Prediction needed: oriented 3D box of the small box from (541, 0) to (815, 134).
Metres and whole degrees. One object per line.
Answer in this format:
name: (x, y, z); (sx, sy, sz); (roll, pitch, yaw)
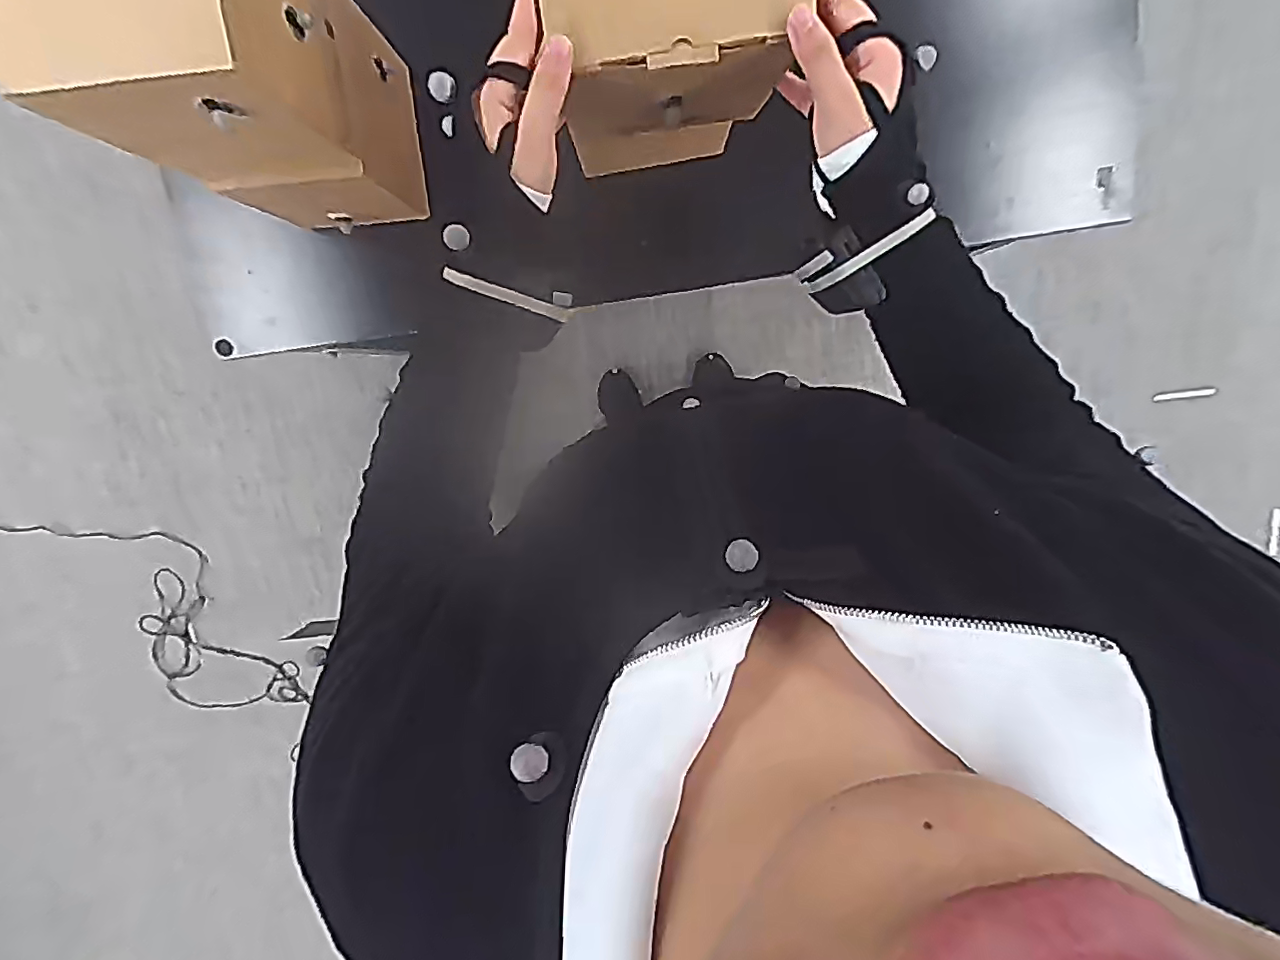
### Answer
small box: (0.017, -0.362, 0.378); (0.168, 0.176, 0.179); (-7, 111, 2)

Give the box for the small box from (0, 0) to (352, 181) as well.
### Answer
small box: (-0.364, -0.367, 0.443); (0.179, 0.176, 0.168); (-5, 101, 3)

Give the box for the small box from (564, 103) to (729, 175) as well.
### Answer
small box: (0.005, -0.454, 0.583); (0.179, 0.176, 0.168); (-9, 101, 2)

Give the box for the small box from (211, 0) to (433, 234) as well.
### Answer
small box: (-0.354, -0.395, 0.605); (0.168, 0.176, 0.179); (-5, 102, 3)
